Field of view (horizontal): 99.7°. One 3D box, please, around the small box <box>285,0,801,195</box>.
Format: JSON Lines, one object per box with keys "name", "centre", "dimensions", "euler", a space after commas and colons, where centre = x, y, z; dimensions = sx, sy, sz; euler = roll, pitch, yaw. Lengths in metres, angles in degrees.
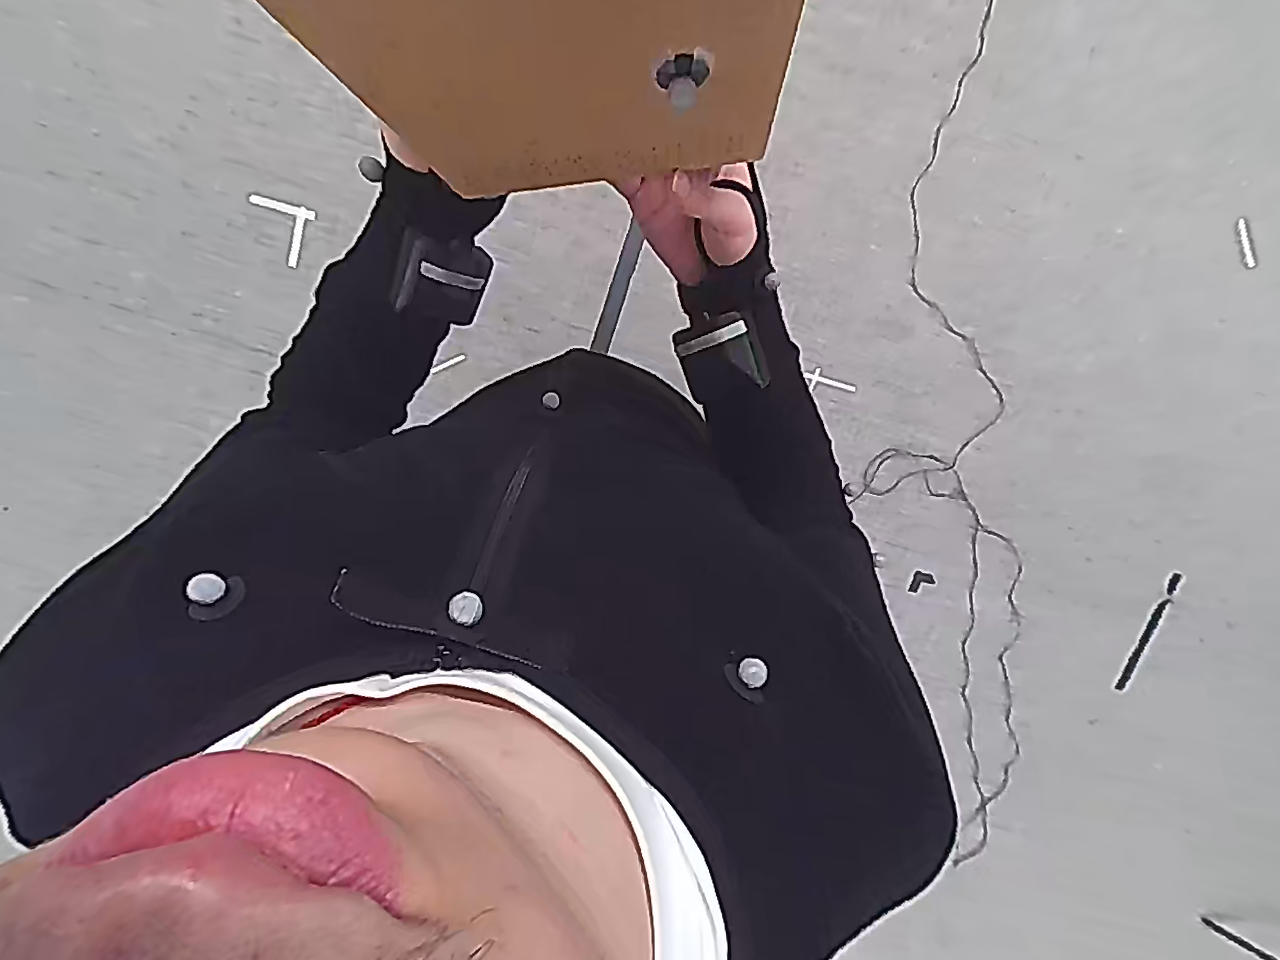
{"name": "small box", "centre": [-0.028, -0.246, 0.227], "dimensions": [0.179, 0.176, 0.168], "euler": [-5, 95, 7]}
